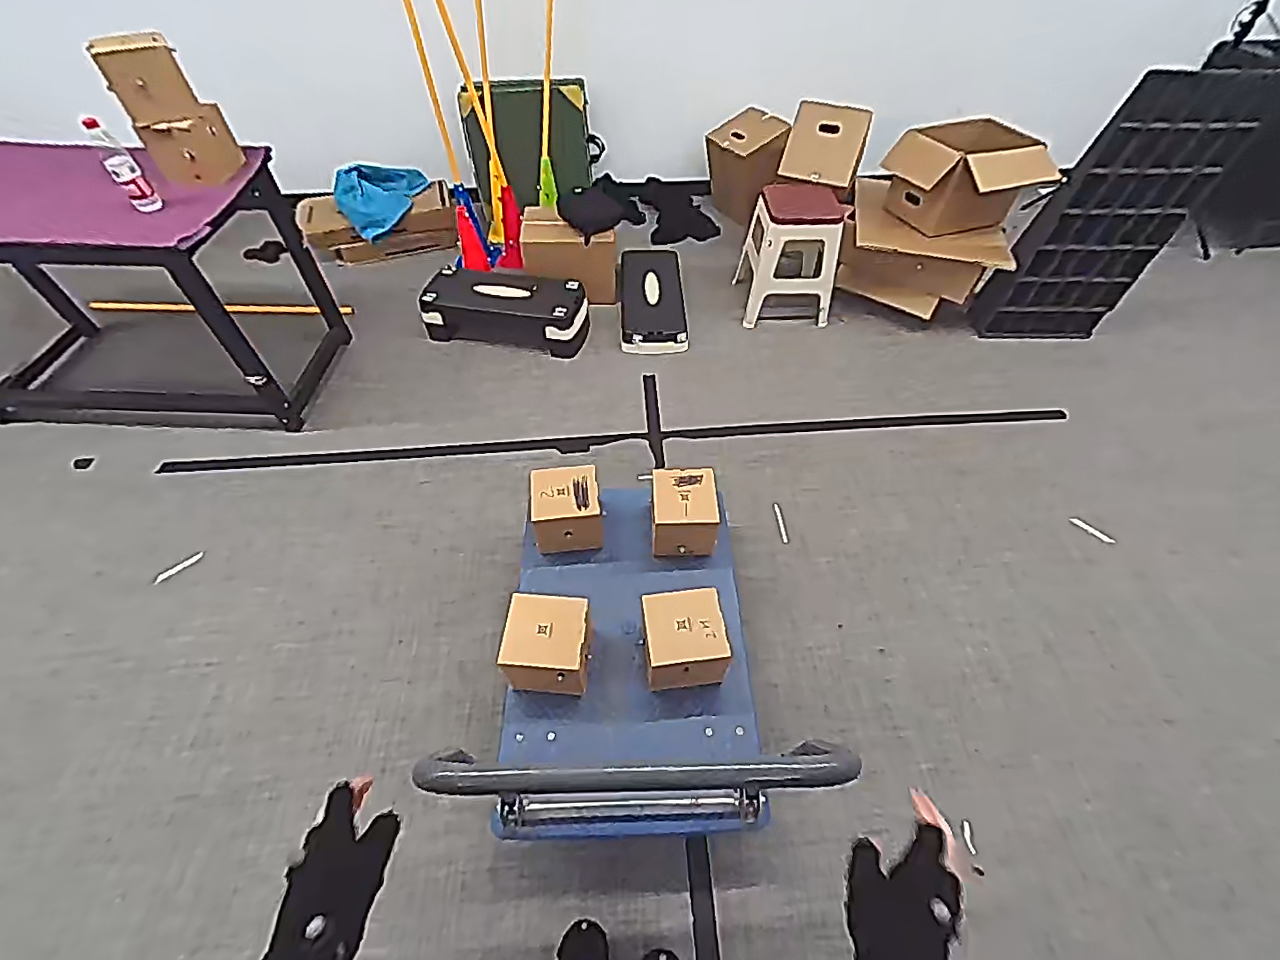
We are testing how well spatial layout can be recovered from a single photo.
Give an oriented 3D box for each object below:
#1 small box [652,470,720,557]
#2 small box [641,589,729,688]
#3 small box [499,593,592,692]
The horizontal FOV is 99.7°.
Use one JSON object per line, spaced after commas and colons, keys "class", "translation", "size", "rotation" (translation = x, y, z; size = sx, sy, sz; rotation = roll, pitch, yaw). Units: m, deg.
{"class": "small box", "translation": [0.118, 0.092, 1.475], "size": [0.168, 0.176, 0.179], "rotation": [-1, 53, -1]}
{"class": "small box", "translation": [0.098, 0.372, 1.257], "size": [0.179, 0.176, 0.168], "rotation": [-5, 53, -5]}
{"class": "small box", "translation": [-0.209, 0.378, 1.249], "size": [0.179, 0.176, 0.168], "rotation": [4, 52, 1]}
